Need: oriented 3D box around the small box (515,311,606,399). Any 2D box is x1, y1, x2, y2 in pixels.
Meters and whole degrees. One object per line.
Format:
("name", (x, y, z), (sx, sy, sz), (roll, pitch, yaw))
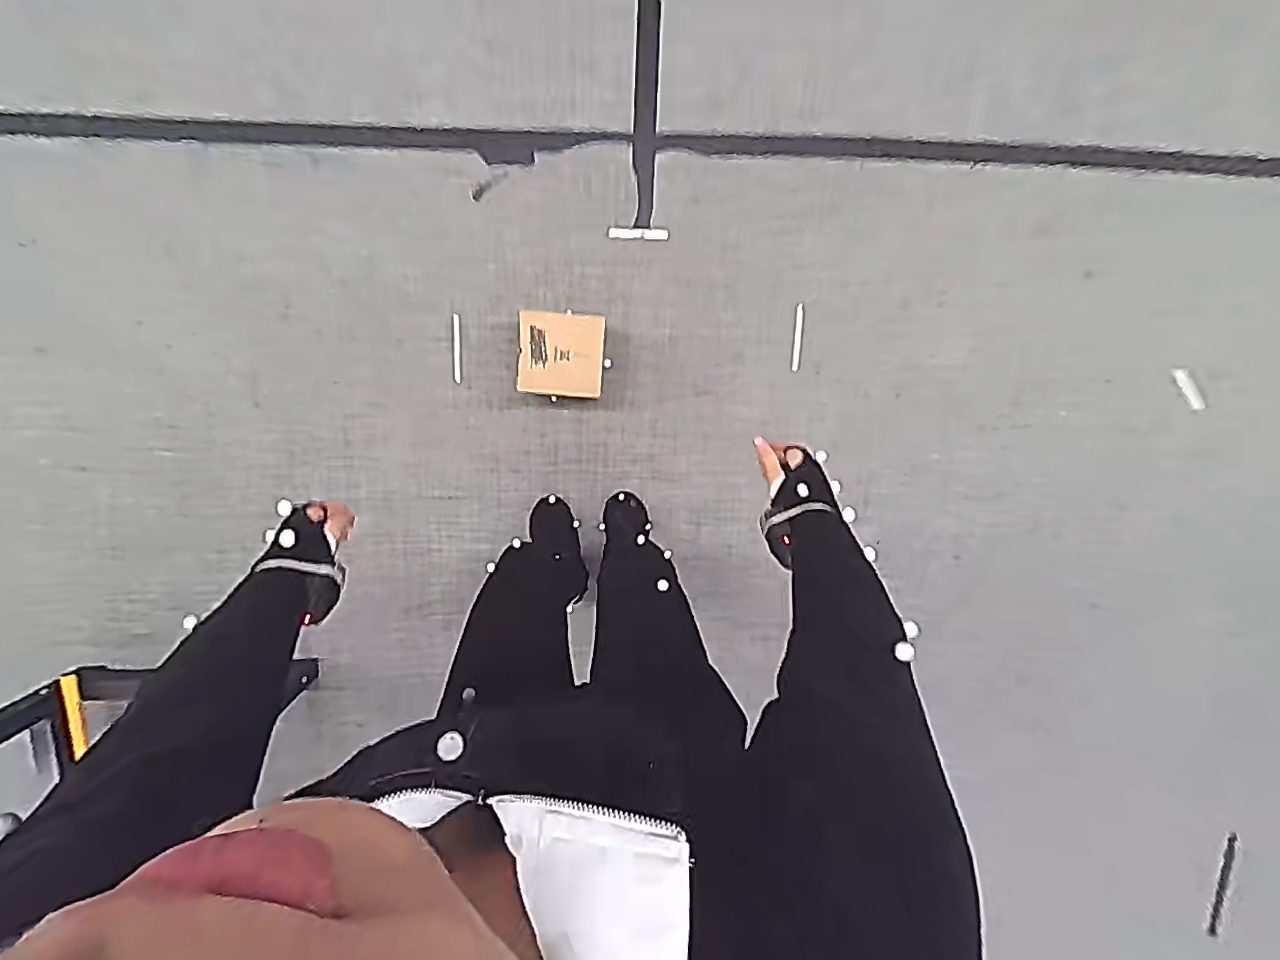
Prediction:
("small box", (-0.170, -0.269, 1.192), (0.179, 0.176, 0.168), (4, 100, -5))
